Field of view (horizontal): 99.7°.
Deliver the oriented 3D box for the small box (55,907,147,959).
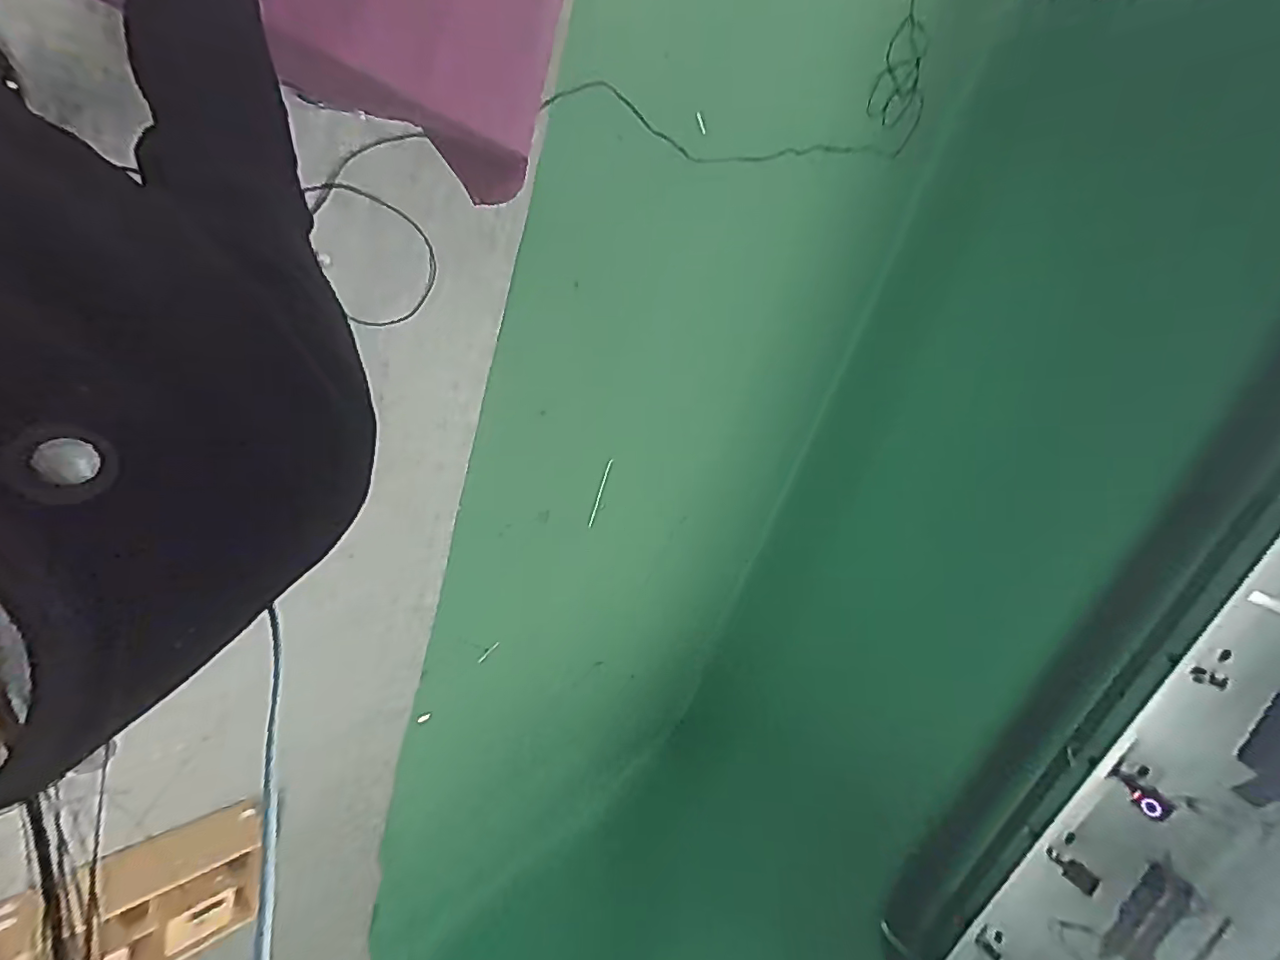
[{"bbox_3d":[-1.544,1.390,1.547,0.168,0.176,0.179,-4,117,-53],"label":"small box"}]
